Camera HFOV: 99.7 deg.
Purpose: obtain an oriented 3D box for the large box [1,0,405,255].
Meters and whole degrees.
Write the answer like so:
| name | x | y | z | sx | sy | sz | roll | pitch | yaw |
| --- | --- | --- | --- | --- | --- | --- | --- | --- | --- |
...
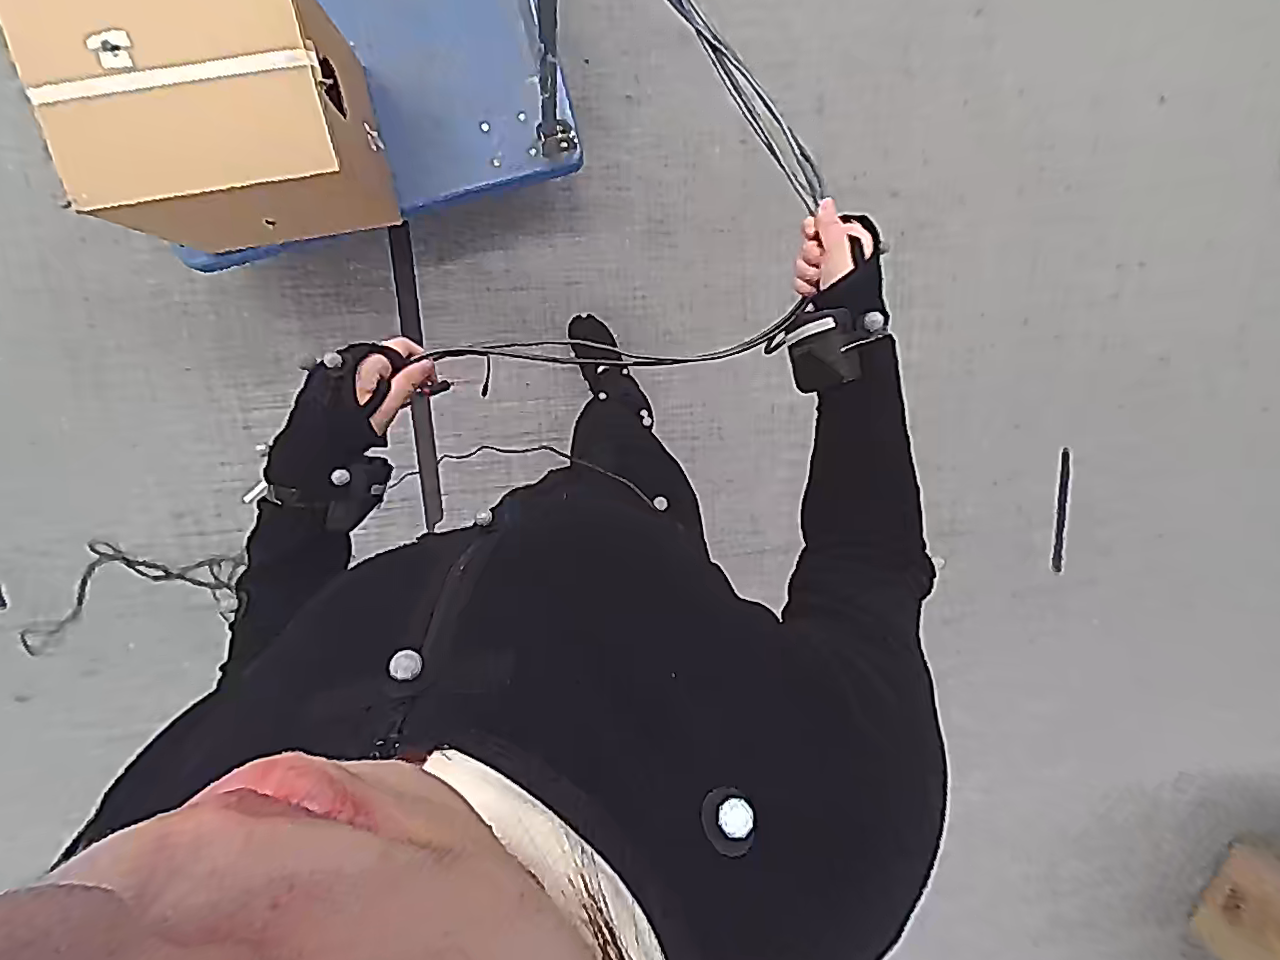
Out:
| name | x | y | z | sx | sy | sz | roll | pitch | yaw |
| --- | --- | --- | --- | --- | --- | --- | --- | --- | --- |
| large box | -0.697 | -0.617 | 0.949 | 0.408 | 0.320 | 0.320 | -12 | 102 | -3 |
